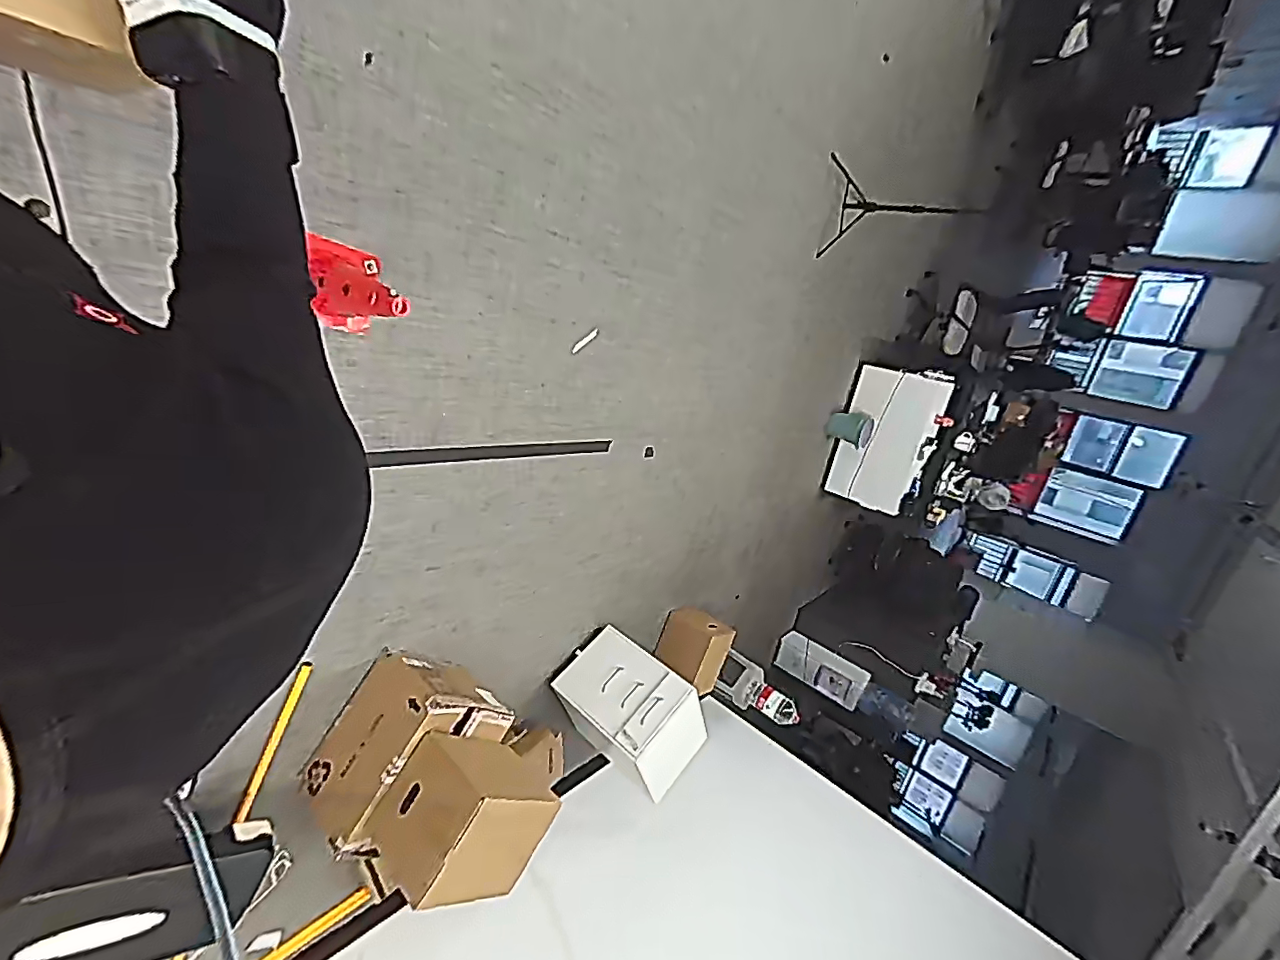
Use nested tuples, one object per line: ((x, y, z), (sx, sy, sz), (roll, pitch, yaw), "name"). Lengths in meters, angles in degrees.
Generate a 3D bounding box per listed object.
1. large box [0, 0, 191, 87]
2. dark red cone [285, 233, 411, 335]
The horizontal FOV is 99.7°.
((-0.538, -0.465, 0.278), (0.408, 0.320, 0.320), (-12, 120, -50), "large box")
((-0.610, -0.402, 1.192), (0.201, 0.394, 0.202), (2, 108, -50), "dark red cone")
